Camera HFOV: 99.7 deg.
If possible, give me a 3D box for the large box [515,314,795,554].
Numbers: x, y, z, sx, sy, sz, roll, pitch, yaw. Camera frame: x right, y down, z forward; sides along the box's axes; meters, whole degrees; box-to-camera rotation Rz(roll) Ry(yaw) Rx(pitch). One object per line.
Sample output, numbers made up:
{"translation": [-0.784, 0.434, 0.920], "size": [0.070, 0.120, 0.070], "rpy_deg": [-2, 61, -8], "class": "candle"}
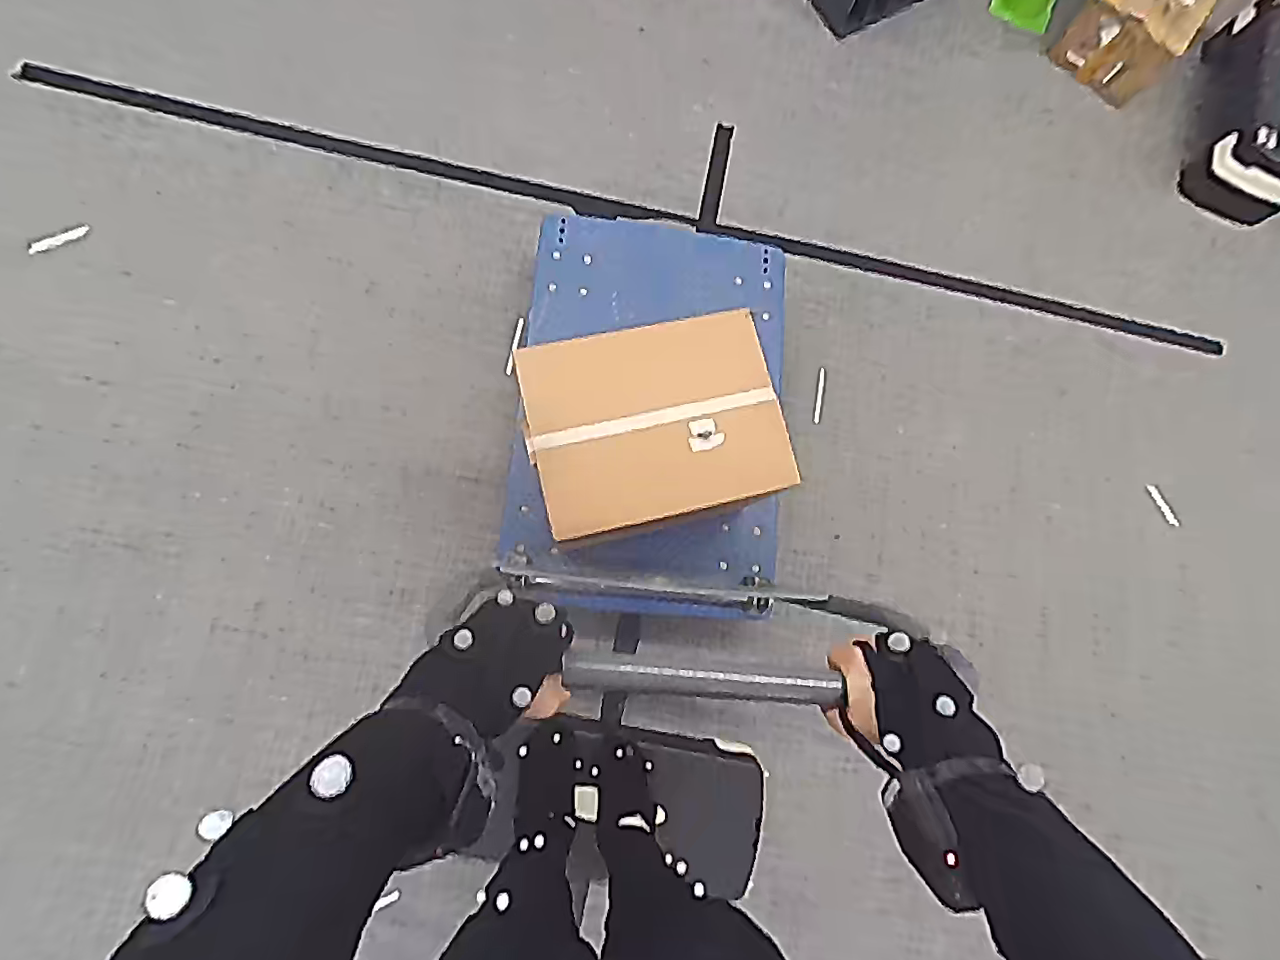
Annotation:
{"translation": [0.007, -0.066, 1.012], "size": [0.408, 0.320, 0.320], "rpy_deg": [-13, 82, -10], "class": "large box"}
